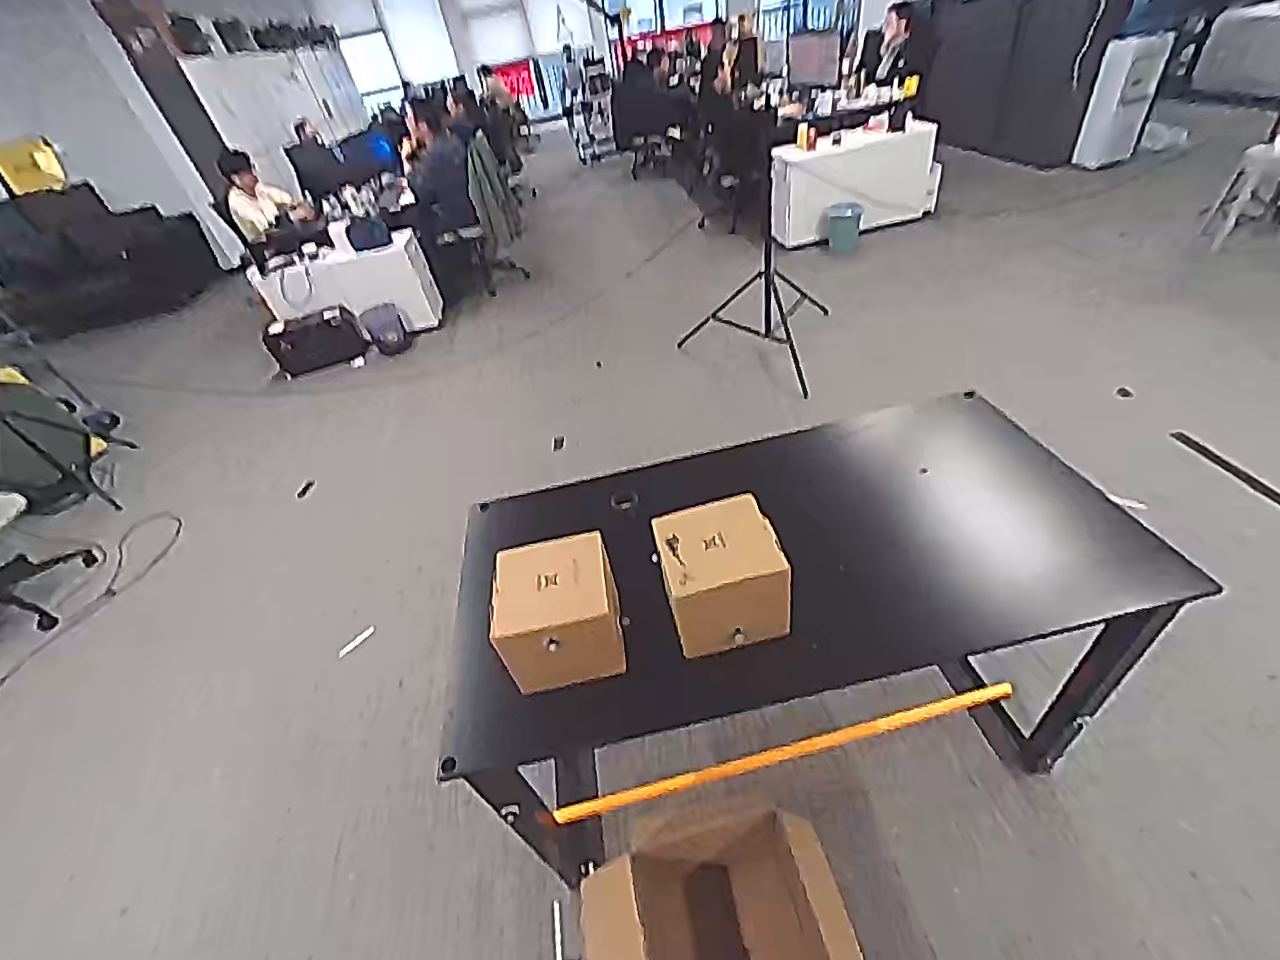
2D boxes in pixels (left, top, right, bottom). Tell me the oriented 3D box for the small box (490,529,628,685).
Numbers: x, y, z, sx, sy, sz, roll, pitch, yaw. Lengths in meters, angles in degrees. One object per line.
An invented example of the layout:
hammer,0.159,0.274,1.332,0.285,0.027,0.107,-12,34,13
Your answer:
small box,-0.127,0.208,0.875,0.179,0.176,0.168,-12,42,-1

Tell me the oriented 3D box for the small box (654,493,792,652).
small box,0.130,0.151,0.876,0.179,0.176,0.168,-13,40,-2
